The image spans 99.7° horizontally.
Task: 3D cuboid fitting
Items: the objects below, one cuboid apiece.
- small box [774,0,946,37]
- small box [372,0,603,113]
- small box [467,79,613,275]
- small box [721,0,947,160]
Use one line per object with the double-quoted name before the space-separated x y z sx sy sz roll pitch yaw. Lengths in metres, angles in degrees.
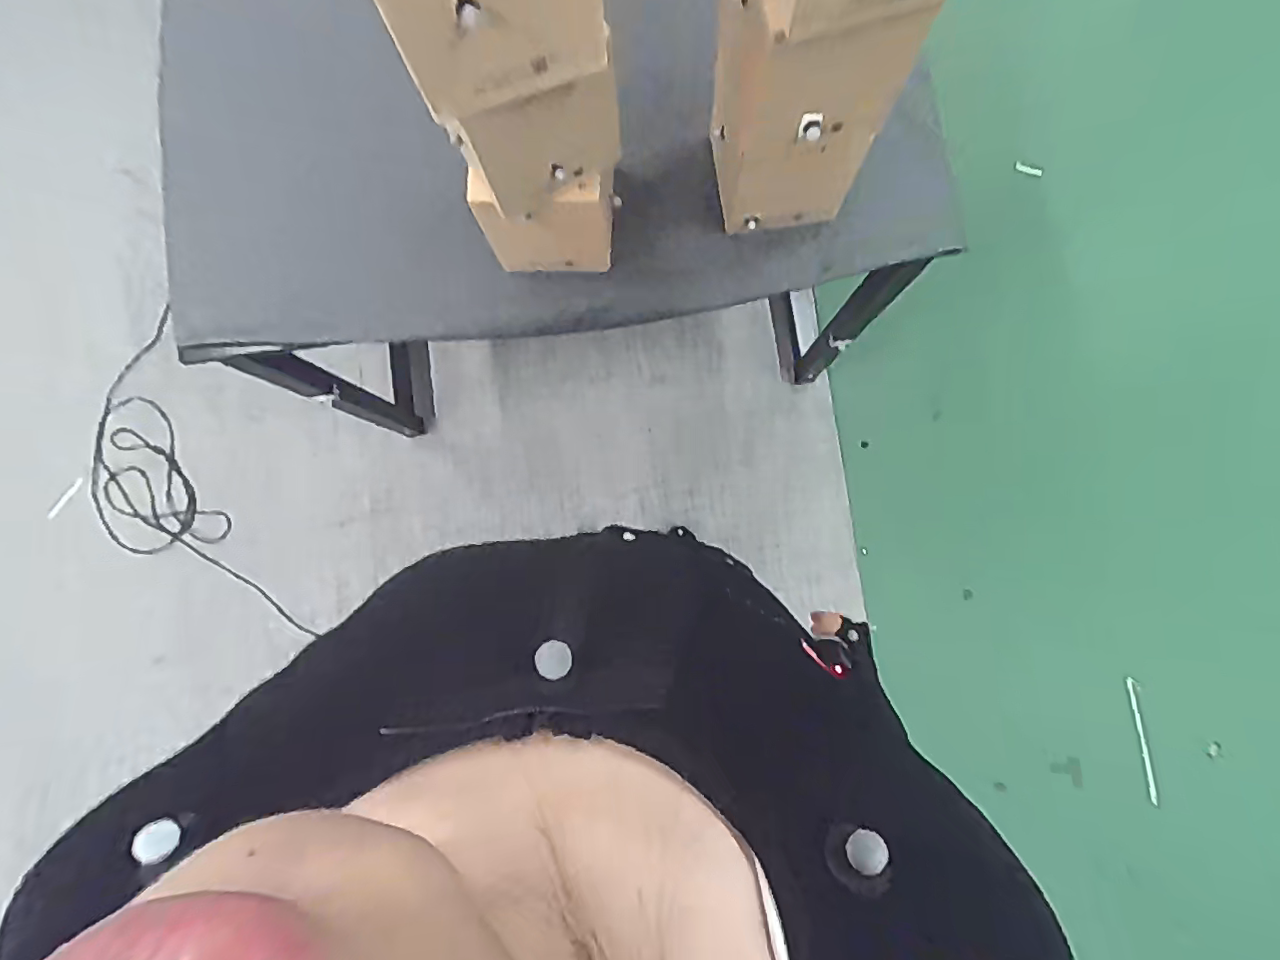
"small box" 0.186 -0.509 0.420 0.168 0.176 0.179 -15 81 2
"small box" -0.136 -0.431 0.423 0.168 0.176 0.179 -20 83 -1
"small box" -0.127 -0.410 0.750 0.168 0.176 0.179 1 82 2
"small box" 0.190 -0.493 0.585 0.168 0.176 0.179 -12 83 2
